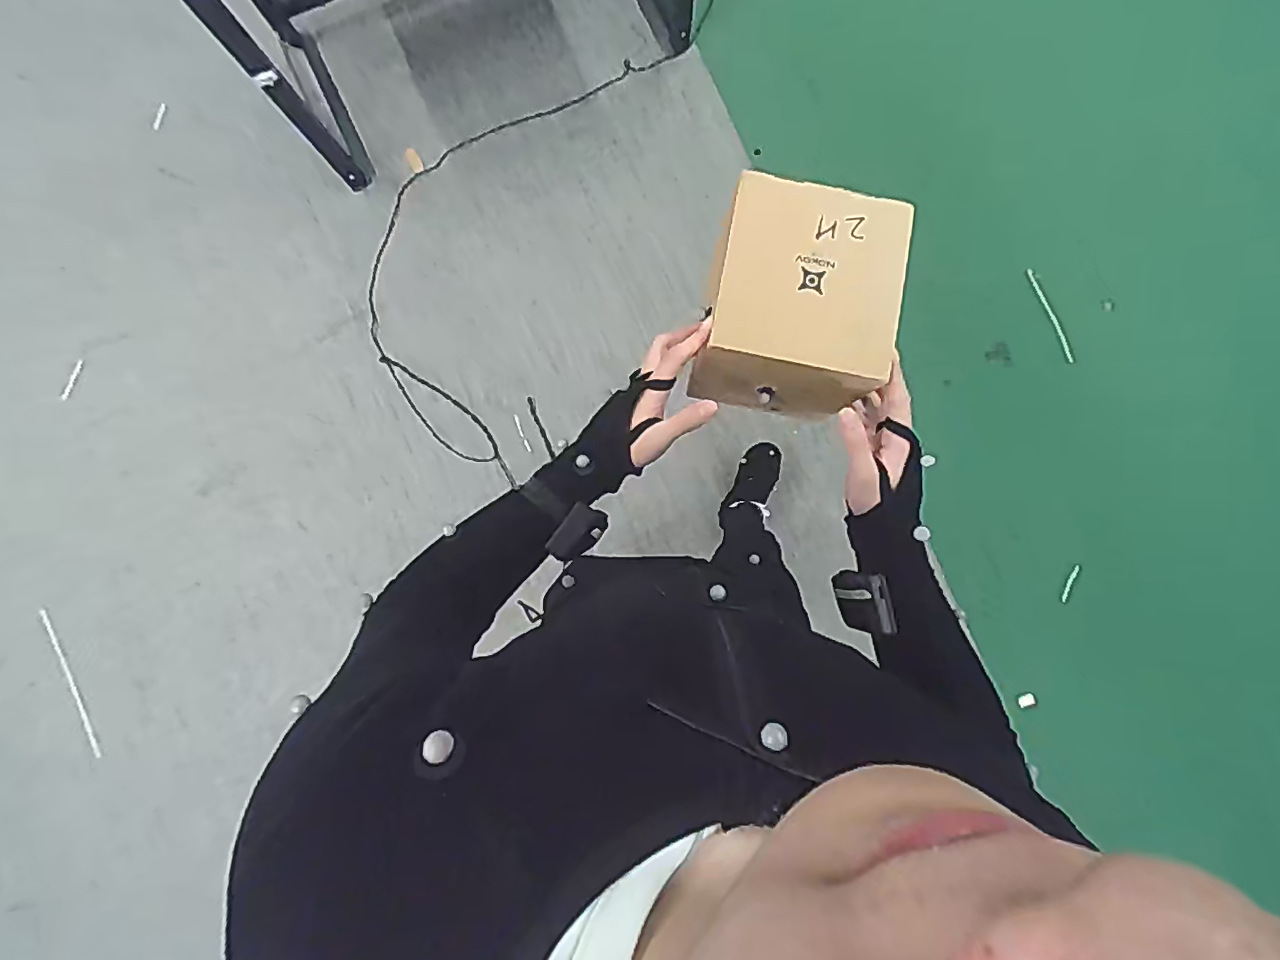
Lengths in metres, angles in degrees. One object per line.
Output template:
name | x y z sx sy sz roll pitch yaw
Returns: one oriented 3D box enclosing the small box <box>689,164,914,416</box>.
small box | 0.151 -0.178 0.562 0.168 0.176 0.179 12 82 -1
